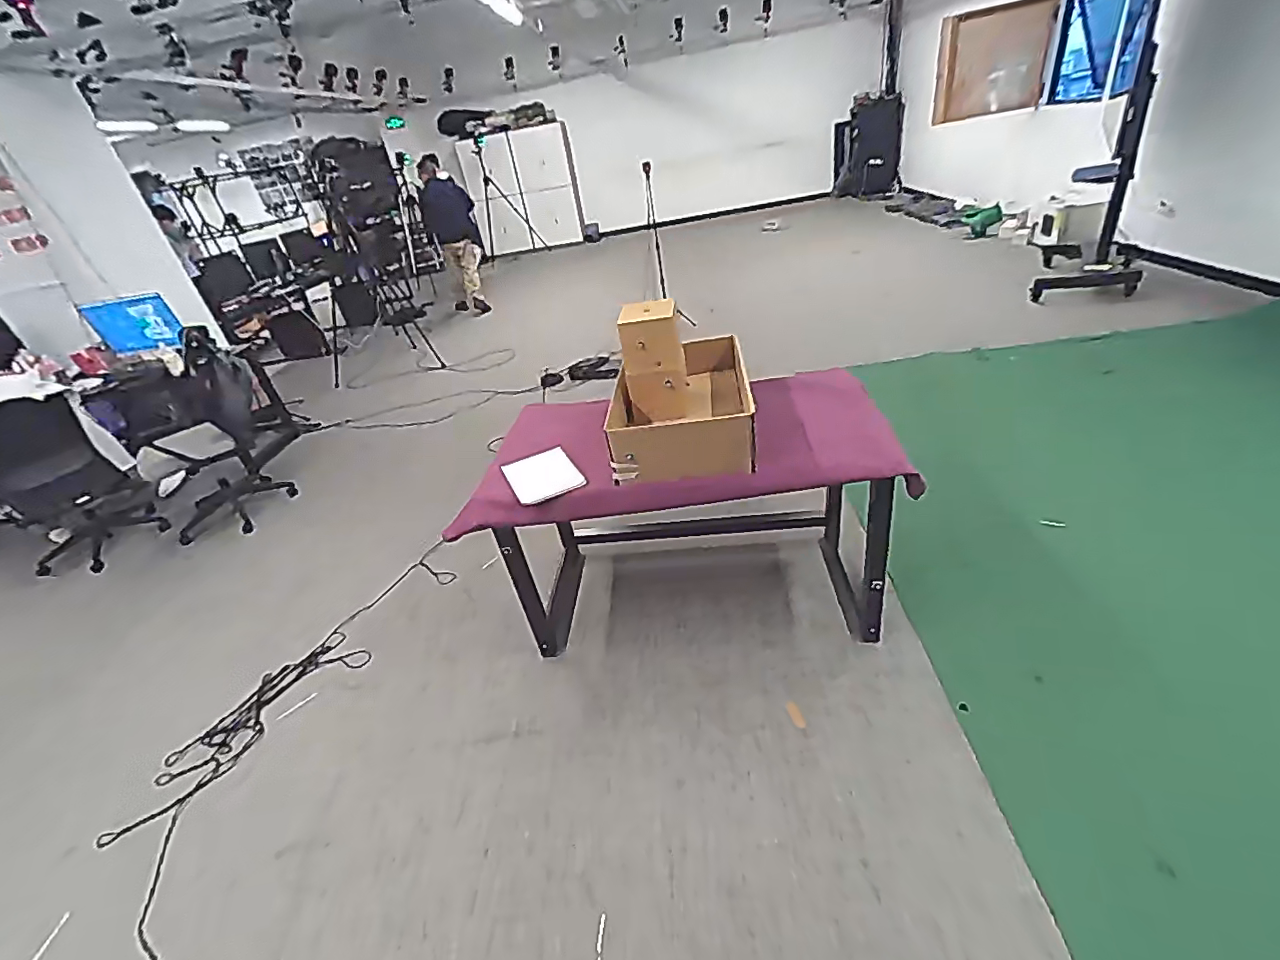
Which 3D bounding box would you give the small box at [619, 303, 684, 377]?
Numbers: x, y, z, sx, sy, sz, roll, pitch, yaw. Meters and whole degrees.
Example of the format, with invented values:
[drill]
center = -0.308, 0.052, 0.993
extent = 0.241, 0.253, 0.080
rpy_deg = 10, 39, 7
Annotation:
[small box]
center = 0.042, -0.423, 1.663
extent = 0.168, 0.176, 0.179
rpy_deg = -5, 34, 11
